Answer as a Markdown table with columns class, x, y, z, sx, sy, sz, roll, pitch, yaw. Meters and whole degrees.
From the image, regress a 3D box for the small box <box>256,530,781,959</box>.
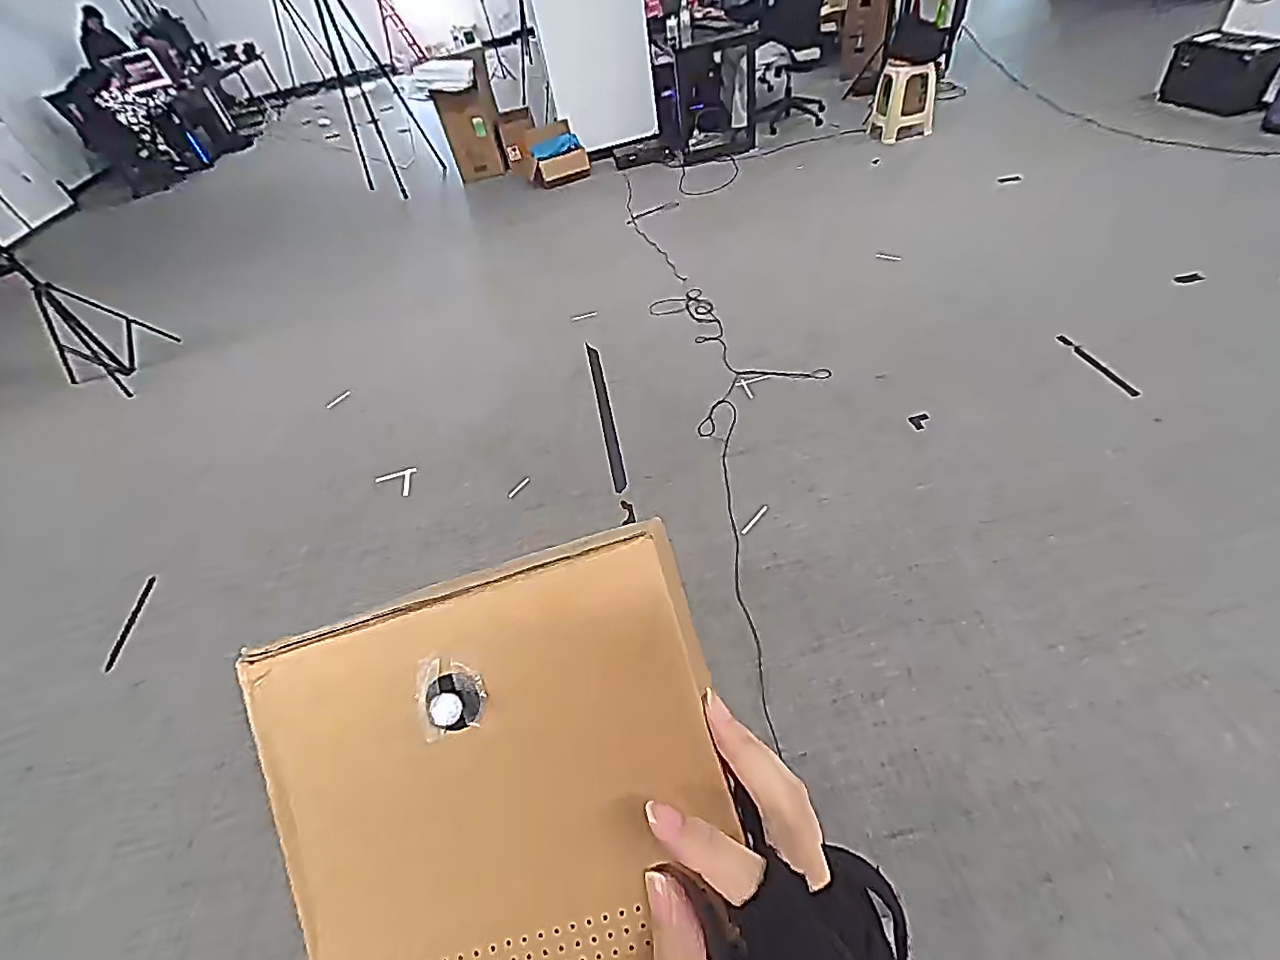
| class | x | y | z | sx | sy | sz | roll | pitch | yaw |
| --- | --- | --- | --- | --- | --- | --- | --- | --- | --- |
| small box | -0.046 | 0.134 | 0.287 | 0.179 | 0.168 | 0.176 | -17 | 87 | 3 |
